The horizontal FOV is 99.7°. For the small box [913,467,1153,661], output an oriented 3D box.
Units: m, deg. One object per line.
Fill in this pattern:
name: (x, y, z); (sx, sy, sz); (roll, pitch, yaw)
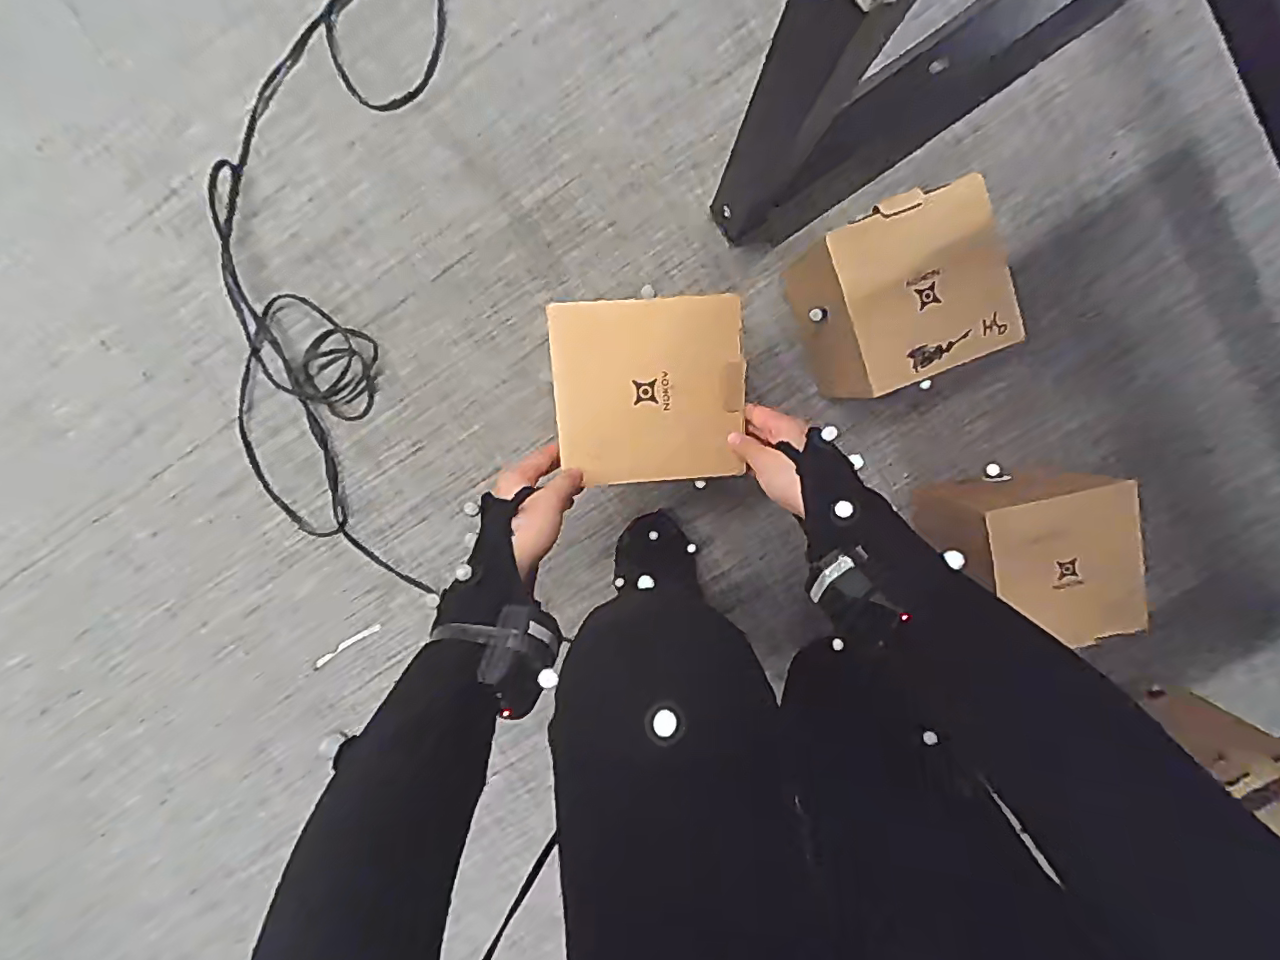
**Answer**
small box: (0.466, 0.091, 0.664); (0.168, 0.176, 0.179); (-13, 97, 1)
